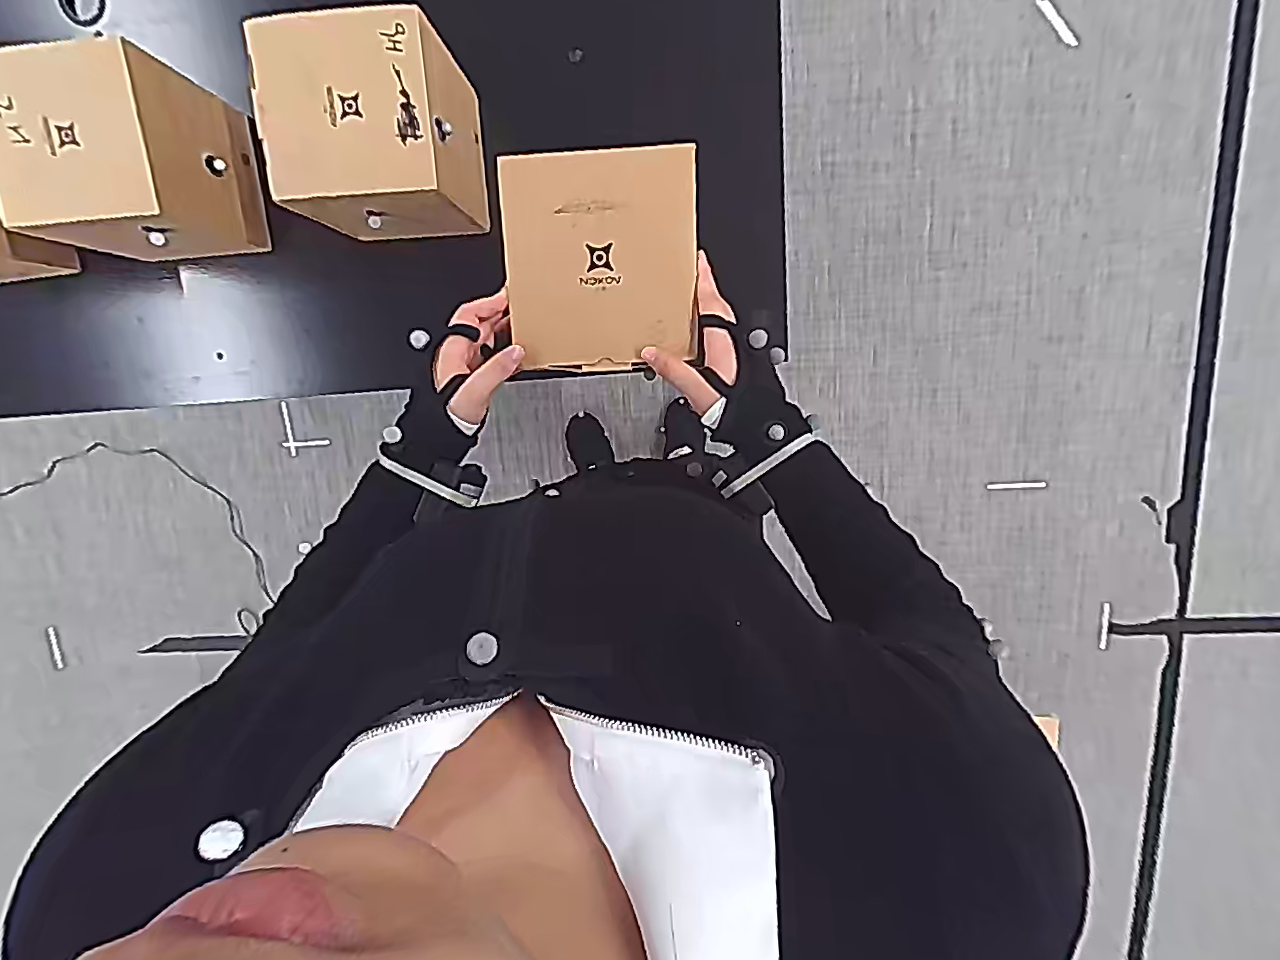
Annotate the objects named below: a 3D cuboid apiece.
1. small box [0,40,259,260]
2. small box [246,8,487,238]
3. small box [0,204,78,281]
[{"bbox_3d":[-0.584,-0.364,0.629,0.179,0.176,0.168,-4,100,3],"label":"small box"},{"bbox_3d":[-0.292,-0.384,0.615,0.179,0.176,0.168,-2,101,3],"label":"small box"},{"bbox_3d":[-0.850,-0.346,0.644,0.168,0.176,0.179,-5,102,3],"label":"small box"}]
